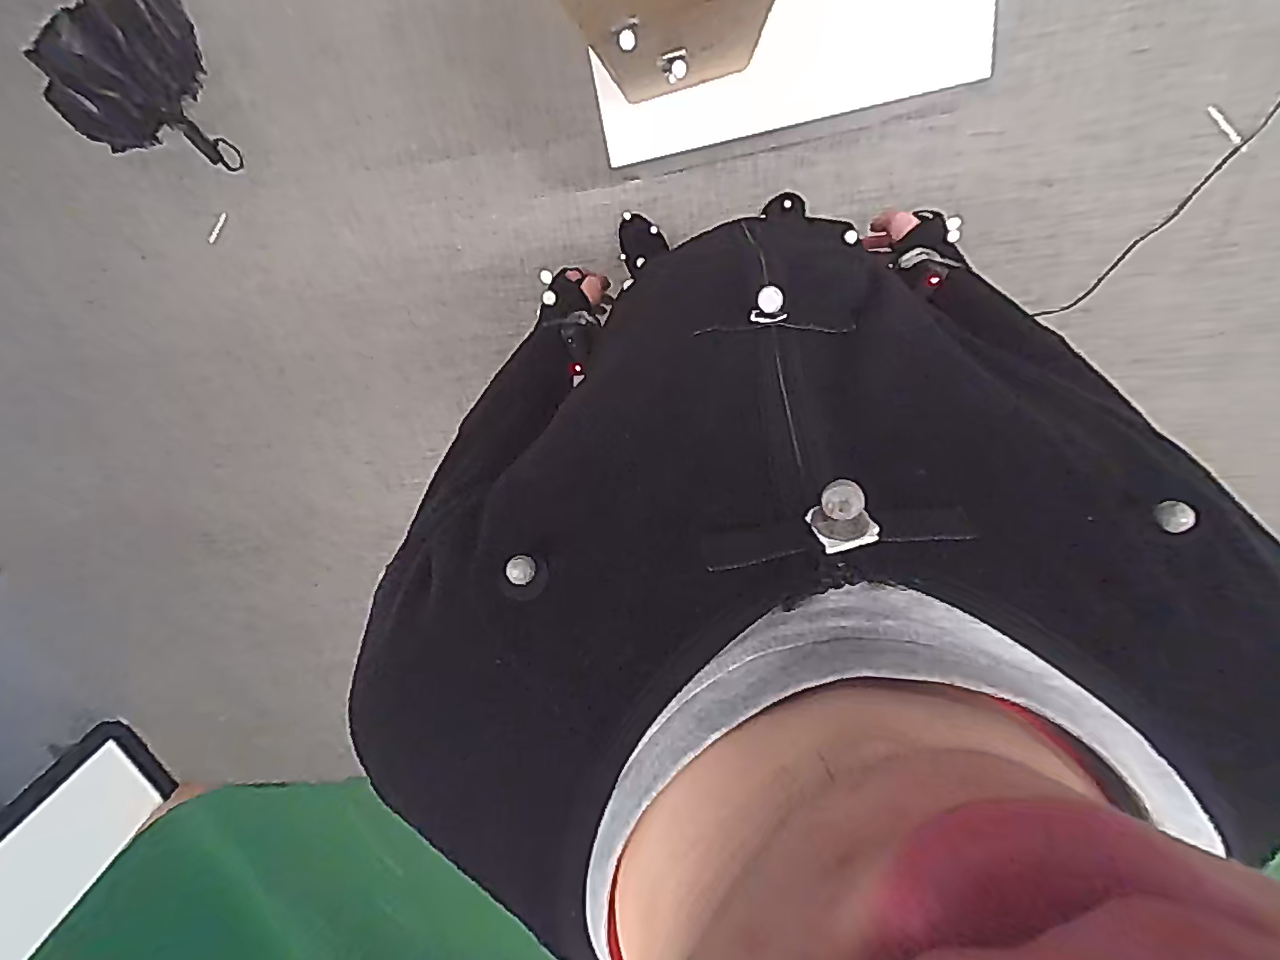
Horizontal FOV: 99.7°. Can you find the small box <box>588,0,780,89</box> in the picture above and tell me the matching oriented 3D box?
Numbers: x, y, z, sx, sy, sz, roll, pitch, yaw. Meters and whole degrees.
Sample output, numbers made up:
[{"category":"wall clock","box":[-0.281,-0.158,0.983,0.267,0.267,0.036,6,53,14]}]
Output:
[{"category":"small box","box":[0.024,-0.489,0.484,0.168,0.176,0.179,-11,116,12]}]

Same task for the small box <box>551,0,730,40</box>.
[{"category":"small box","box":[0.006,-0.415,0.338,0.168,0.176,0.179,-12,113,12]}]

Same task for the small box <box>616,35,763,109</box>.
[{"category":"small box","box":[0.042,-0.565,0.629,0.168,0.176,0.179,-9,117,11]}]
